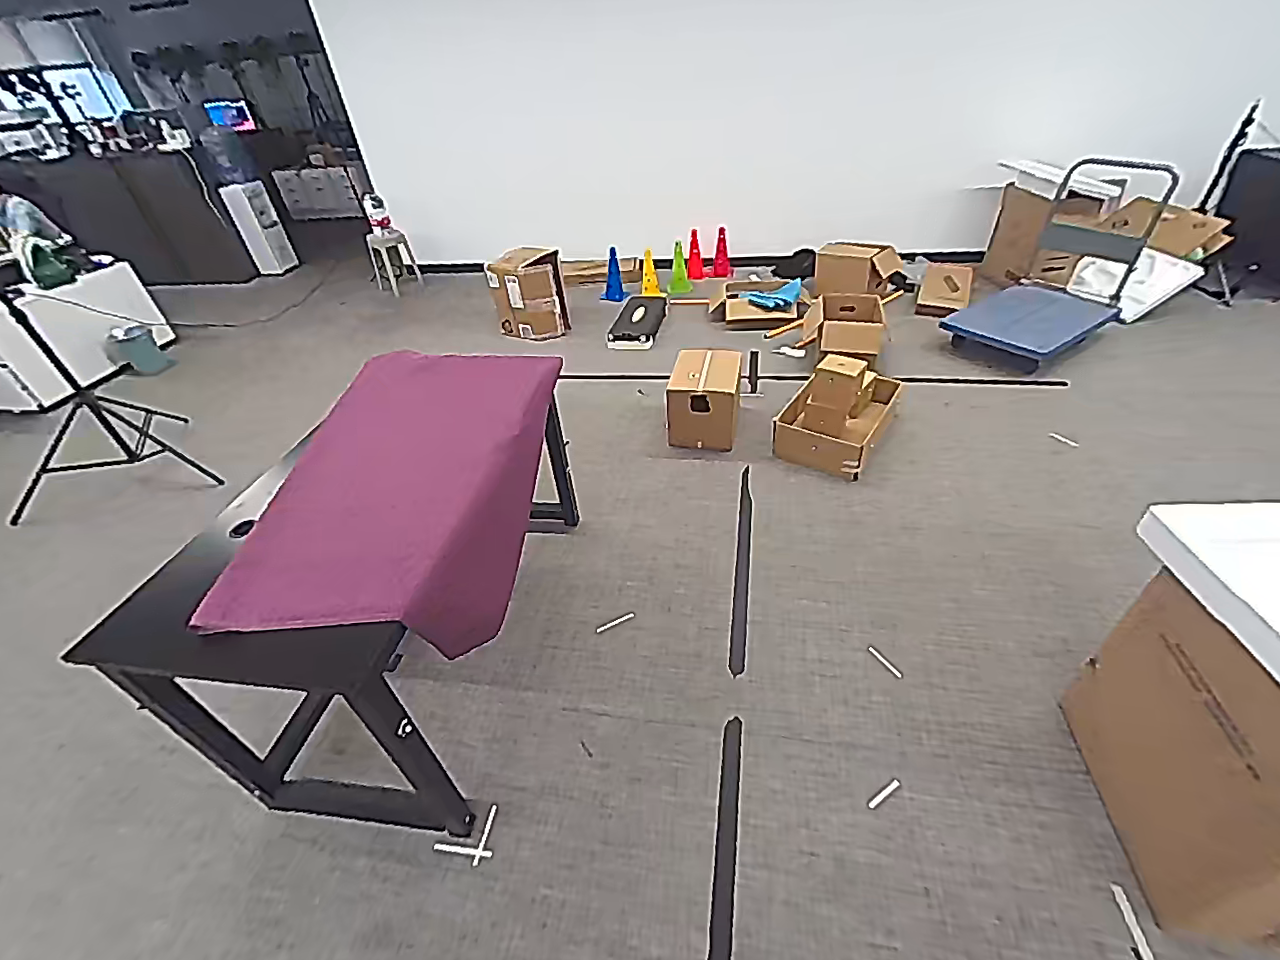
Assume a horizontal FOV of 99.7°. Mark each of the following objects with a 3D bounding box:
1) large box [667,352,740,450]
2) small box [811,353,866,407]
[{"bbox_3d":[0.318,-0.391,2.636,0.320,0.320,0.408,3,41,12],"label":"large box"},{"bbox_3d":[0.877,-0.442,2.404,0.179,0.176,0.168,22,44,29],"label":"small box"}]
